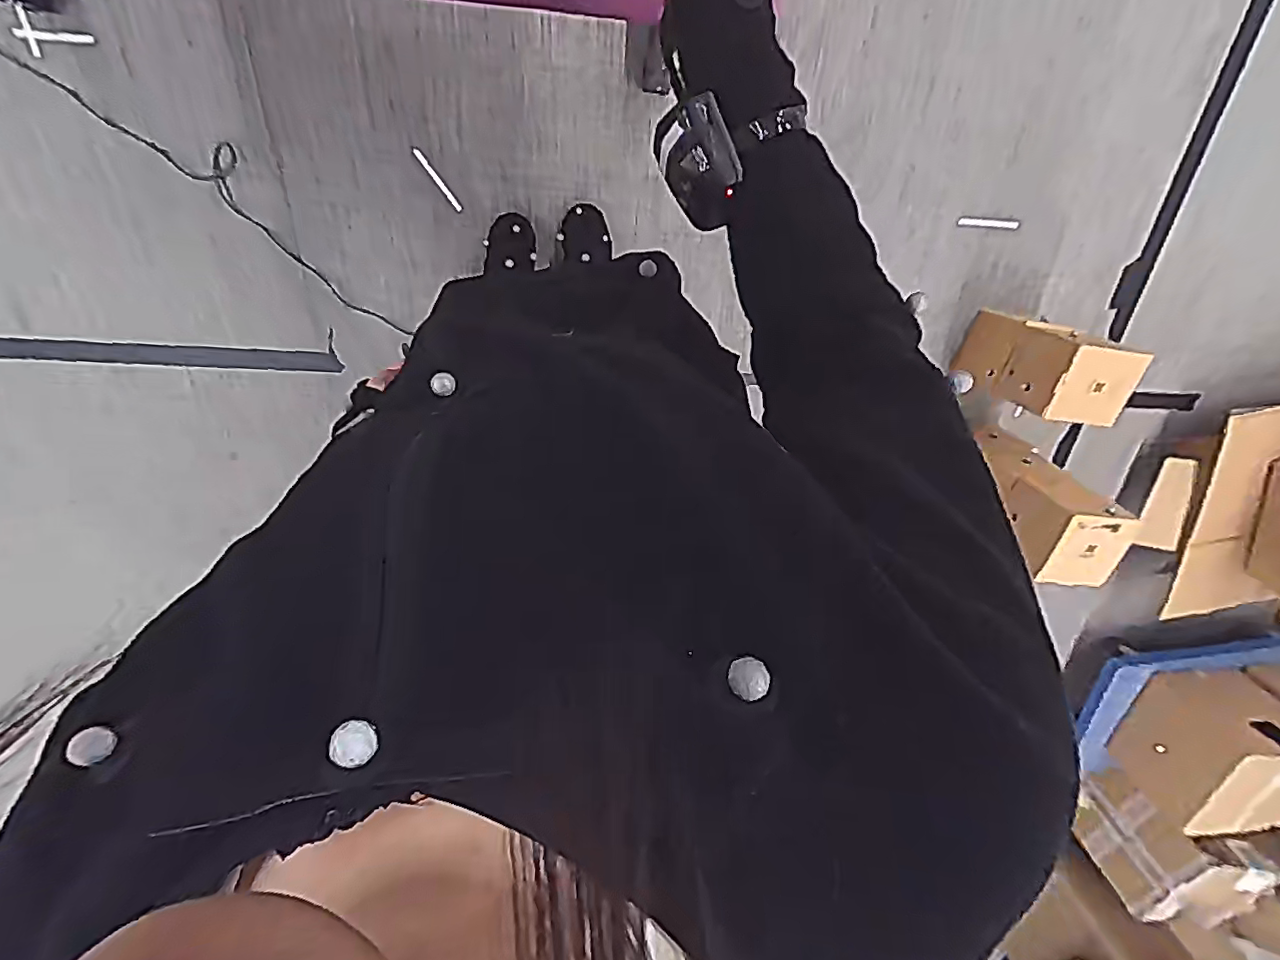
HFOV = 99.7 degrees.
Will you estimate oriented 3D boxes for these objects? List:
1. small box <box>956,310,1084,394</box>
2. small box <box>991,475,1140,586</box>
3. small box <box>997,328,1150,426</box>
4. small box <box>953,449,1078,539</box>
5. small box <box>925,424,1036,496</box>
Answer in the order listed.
[{"bbox_3d":[0.940,-0.318,1.358,0.168,0.176,0.179,6,118,-8],"label":"small box"},{"bbox_3d":[0.938,0.111,1.216,0.168,0.176,0.179,6,119,-8],"label":"small box"},{"bbox_3d":[0.960,-0.236,1.219,0.179,0.176,0.168,4,120,-9],"label":"small box"},{"bbox_3d":[0.929,0.033,1.359,0.168,0.176,0.179,3,119,-6],"label":"small box"},{"bbox_3d":[0.934,-0.050,1.502,0.179,0.176,0.168,0,119,-6],"label":"small box"}]
